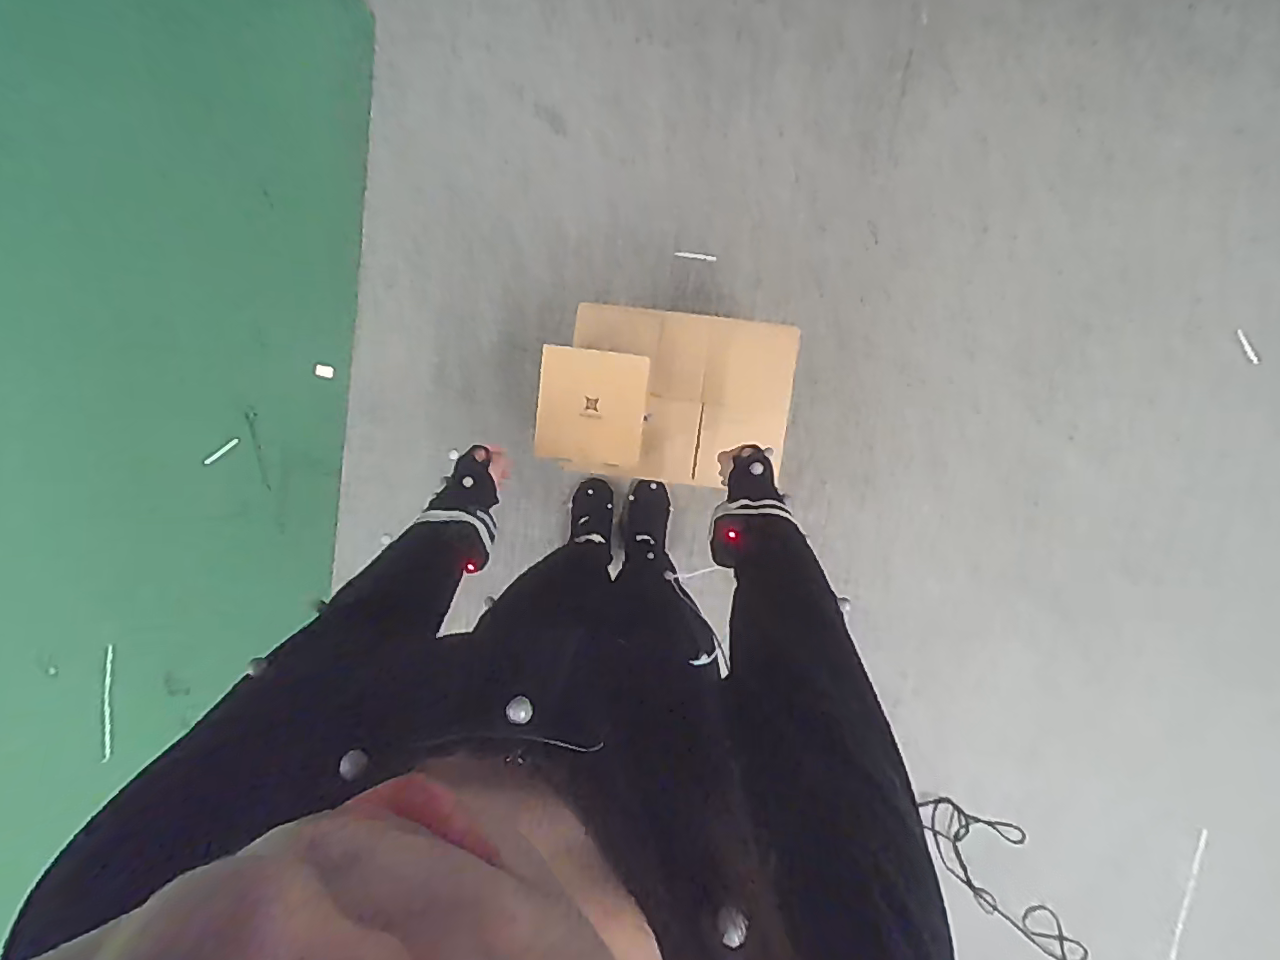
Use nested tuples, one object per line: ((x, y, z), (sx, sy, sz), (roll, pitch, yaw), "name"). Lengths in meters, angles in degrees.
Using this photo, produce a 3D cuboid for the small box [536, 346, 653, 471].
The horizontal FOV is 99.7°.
((-0.070, -0.120, 0.908), (0.168, 0.176, 0.179), (7, 99, 0), "small box")
